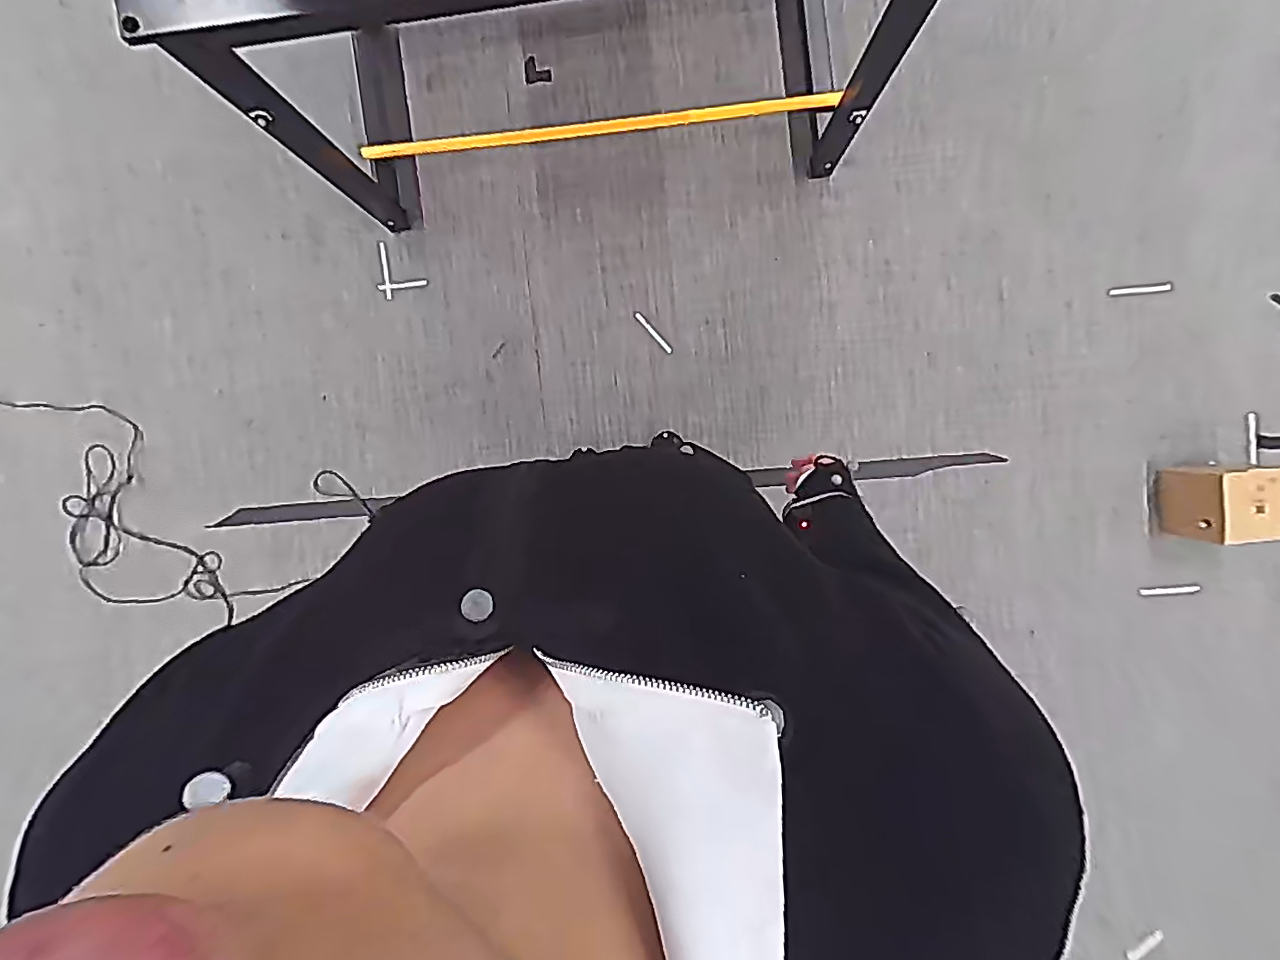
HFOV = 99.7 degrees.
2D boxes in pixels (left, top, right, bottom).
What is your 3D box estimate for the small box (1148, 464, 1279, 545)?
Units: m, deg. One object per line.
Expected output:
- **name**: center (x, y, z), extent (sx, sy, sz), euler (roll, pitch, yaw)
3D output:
- **small box**: center (1.445, 0.057, 1.372), extent (0.168, 0.176, 0.179), euler (-6, 94, 2)
